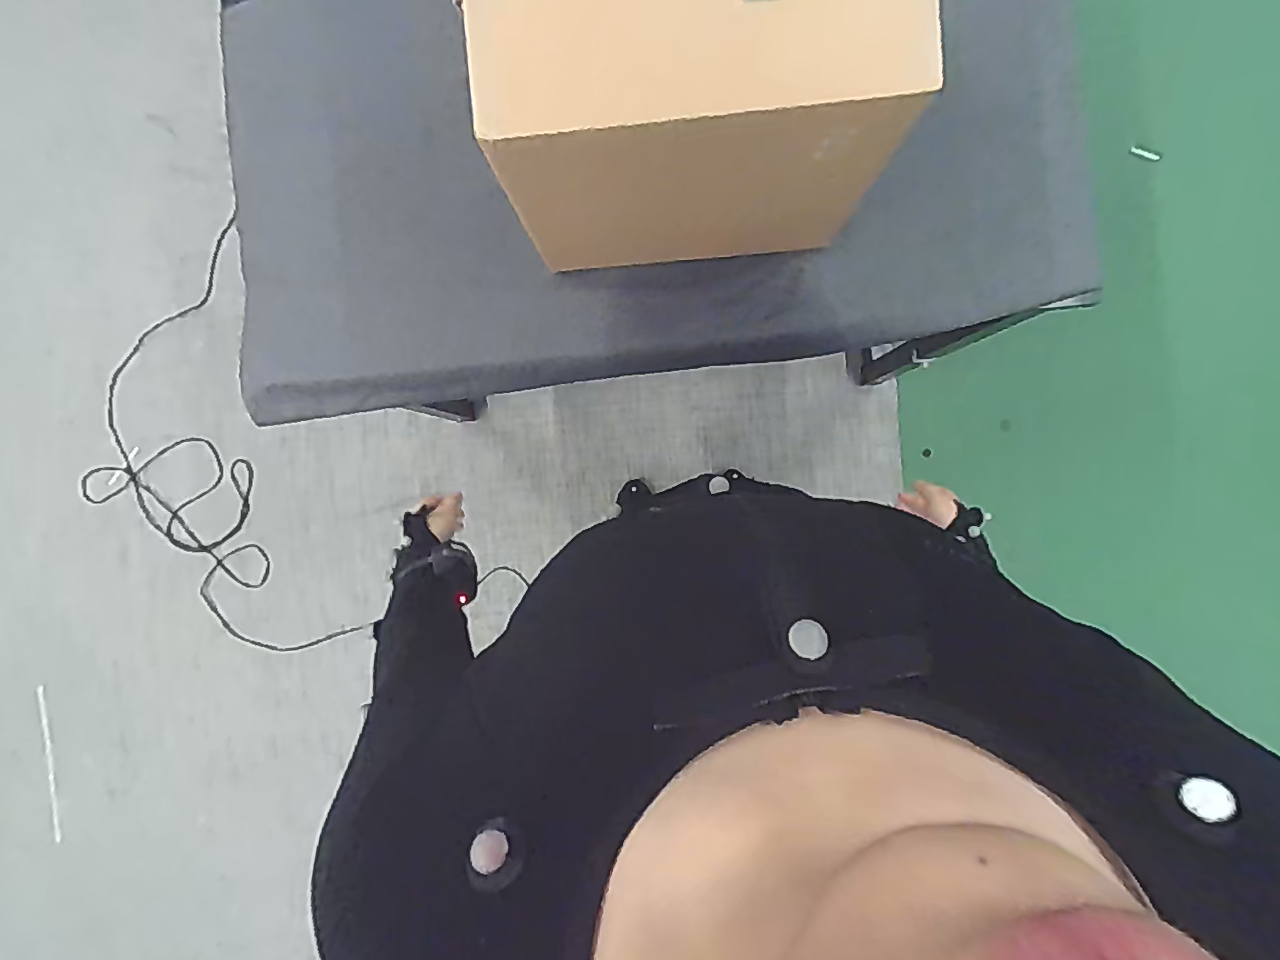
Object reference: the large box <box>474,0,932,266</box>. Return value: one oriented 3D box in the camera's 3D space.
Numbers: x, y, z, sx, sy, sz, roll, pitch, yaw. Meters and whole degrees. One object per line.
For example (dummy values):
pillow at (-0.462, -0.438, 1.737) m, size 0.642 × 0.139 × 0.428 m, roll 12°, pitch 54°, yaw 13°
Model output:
large box at (0.049, -0.477, 0.627) m, size 0.408 × 0.320 × 0.320 m, roll -5°, pitch 91°, yaw 2°
